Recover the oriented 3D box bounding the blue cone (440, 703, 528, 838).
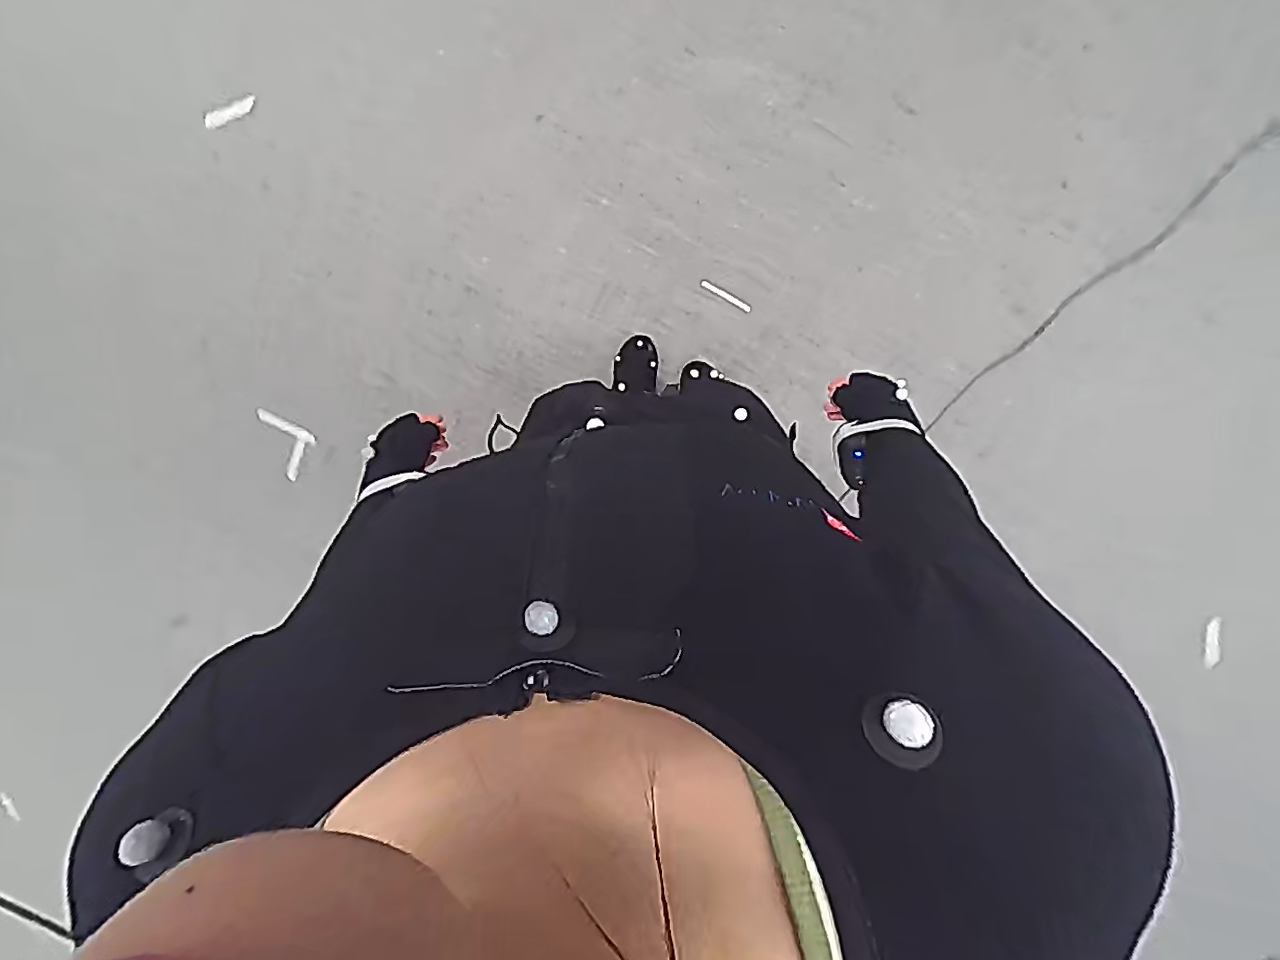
[{"bbox_3d":[-0.477,0.848,1.558,0.193,0.380,0.192,32,104,-4],"label":"blue cone"}]
